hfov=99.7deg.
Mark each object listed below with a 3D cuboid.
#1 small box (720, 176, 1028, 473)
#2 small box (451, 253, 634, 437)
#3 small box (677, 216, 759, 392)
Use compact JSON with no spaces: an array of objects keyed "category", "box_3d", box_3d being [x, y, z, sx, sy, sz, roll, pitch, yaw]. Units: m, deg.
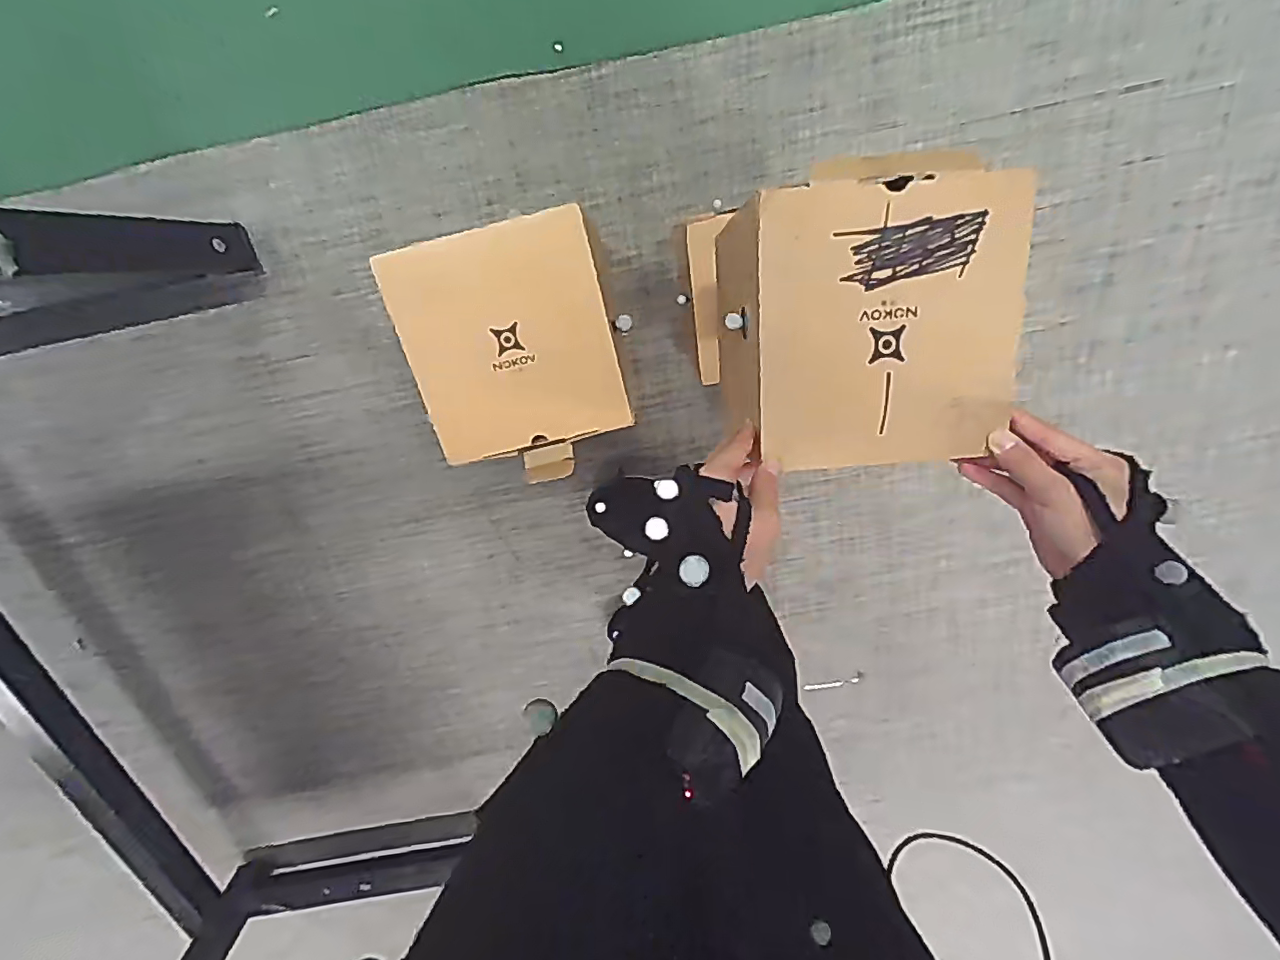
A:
[{"category":"small box","box_3d":[0.157,-0.113,0.422,0.168,0.176,0.179,-4,105,1]},{"category":"small box","box_3d":[-0.102,-0.173,0.667,0.168,0.176,0.179,-11,111,4]},{"category":"small box","box_3d":[0.141,-0.221,0.656,0.168,0.176,0.179,-9,113,3]}]
